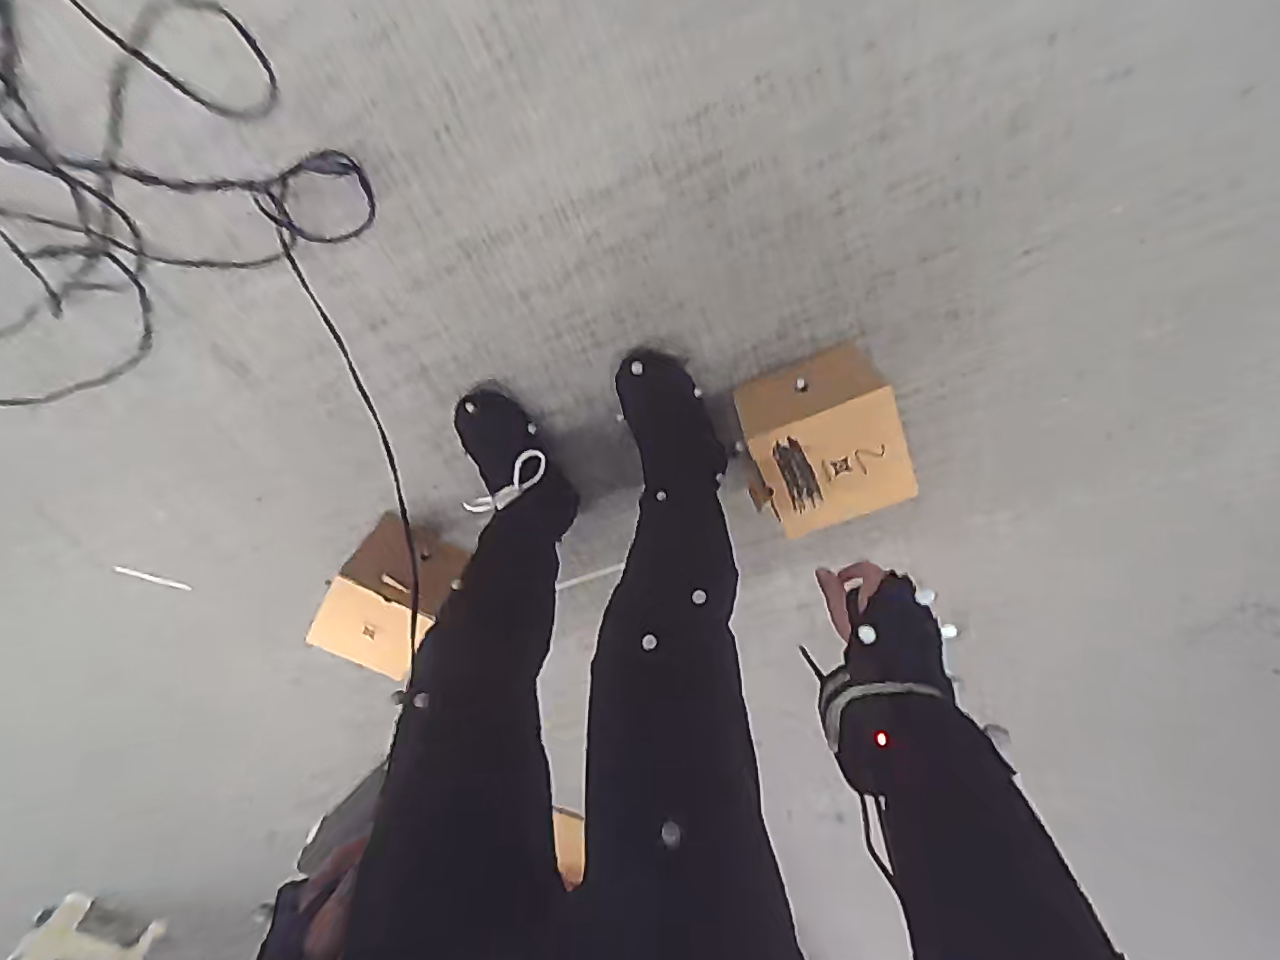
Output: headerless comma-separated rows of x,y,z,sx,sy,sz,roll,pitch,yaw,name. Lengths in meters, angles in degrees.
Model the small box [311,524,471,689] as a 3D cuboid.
-0.413,0.211,0.920,0.168,0.176,0.179,31,117,-14,small box
